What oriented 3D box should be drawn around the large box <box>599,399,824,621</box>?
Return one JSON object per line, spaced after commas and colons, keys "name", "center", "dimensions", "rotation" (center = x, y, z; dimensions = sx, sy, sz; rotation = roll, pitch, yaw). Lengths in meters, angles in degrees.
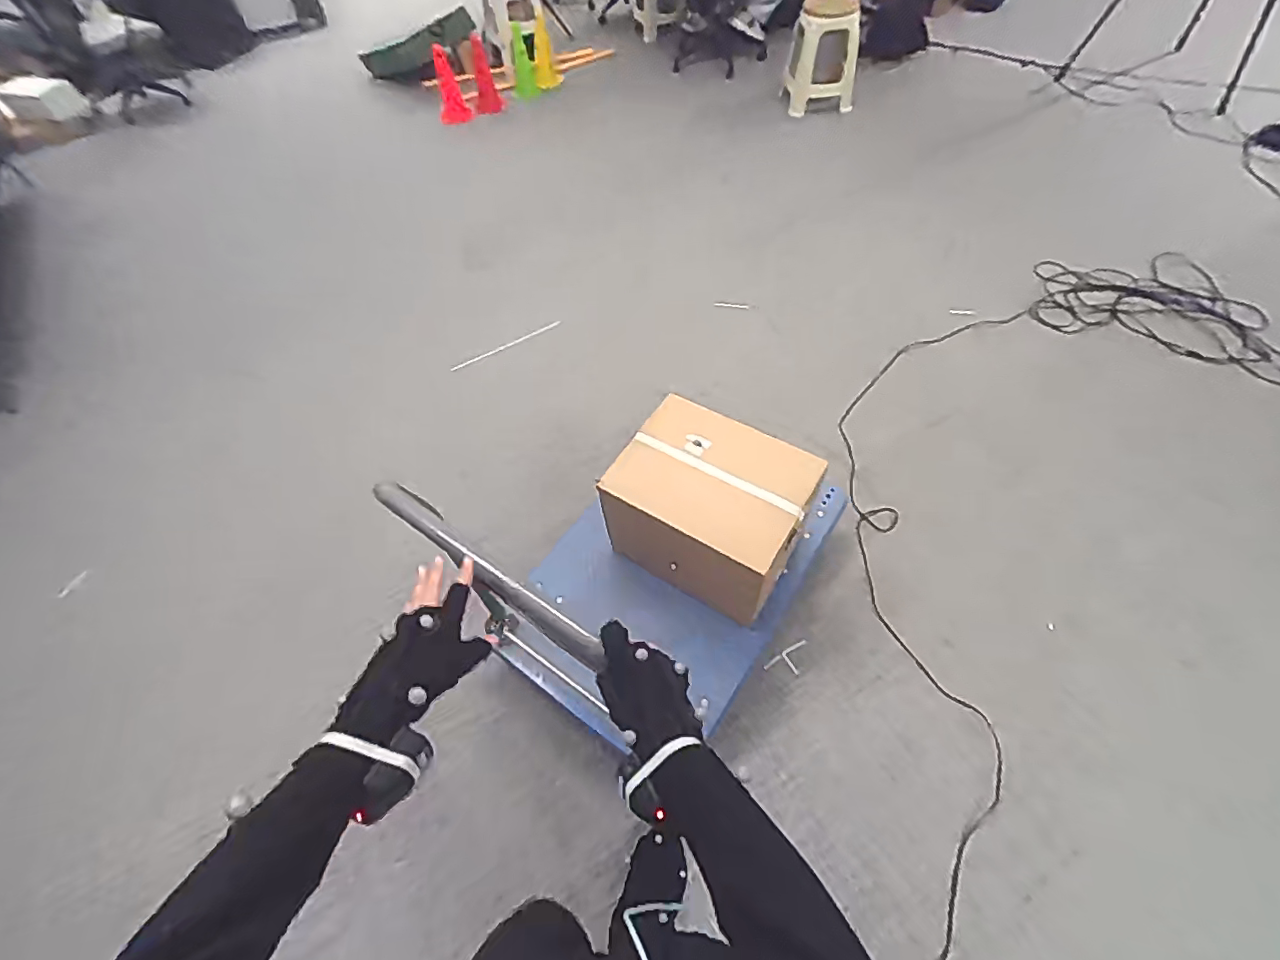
{"name": "large box", "center": [0.170, 0.073, 1.294], "dimensions": [0.408, 0.320, 0.320], "rotation": [26, 61, 21]}
